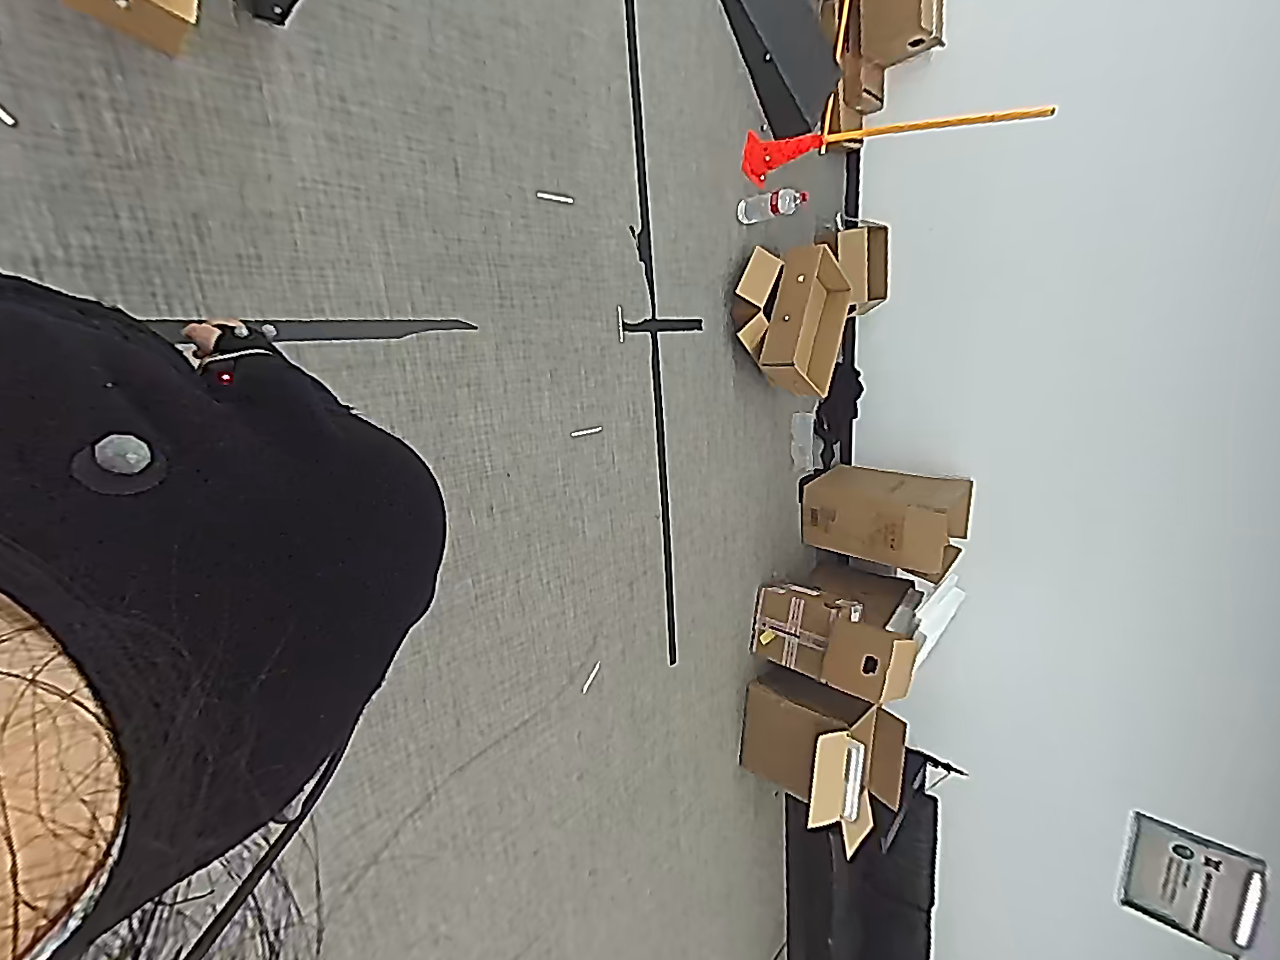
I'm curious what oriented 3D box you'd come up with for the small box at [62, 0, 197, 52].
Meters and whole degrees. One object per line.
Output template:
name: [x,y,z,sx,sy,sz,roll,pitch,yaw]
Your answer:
small box: [-0.929,-0.931,0.984,0.179,0.176,0.168,6,93,-47]
